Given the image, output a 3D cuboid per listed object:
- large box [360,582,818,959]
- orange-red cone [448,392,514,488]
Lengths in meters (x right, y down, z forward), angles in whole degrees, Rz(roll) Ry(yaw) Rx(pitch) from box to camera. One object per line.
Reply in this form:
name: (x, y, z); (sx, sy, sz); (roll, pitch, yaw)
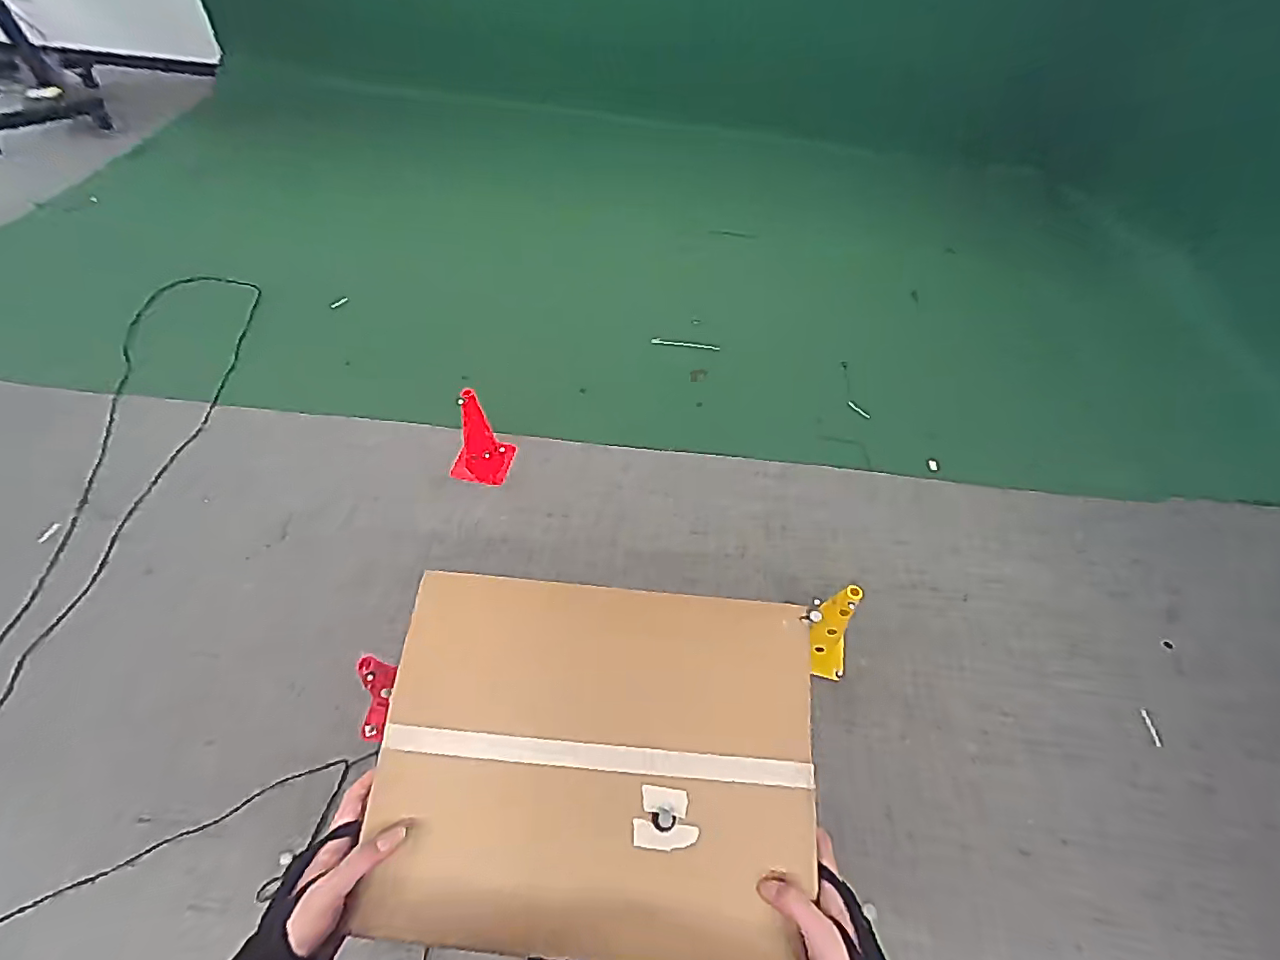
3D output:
large box: (-0.040, 0.319, 0.654); (0.408, 0.320, 0.320); (5, 69, 0)
orange-red cone: (-0.578, -0.162, 1.873); (0.199, 0.360, 0.198); (11, 52, 5)
